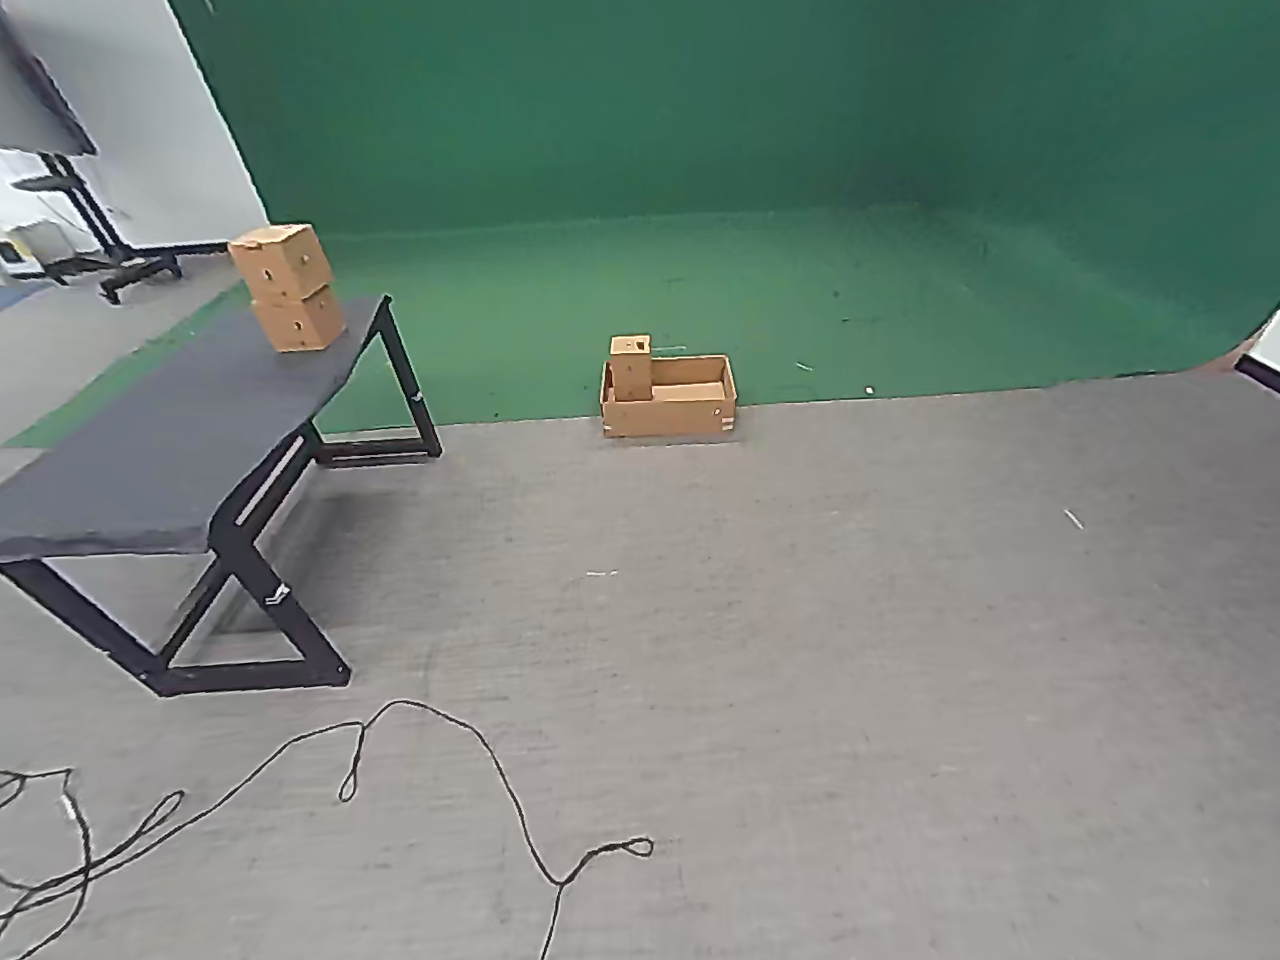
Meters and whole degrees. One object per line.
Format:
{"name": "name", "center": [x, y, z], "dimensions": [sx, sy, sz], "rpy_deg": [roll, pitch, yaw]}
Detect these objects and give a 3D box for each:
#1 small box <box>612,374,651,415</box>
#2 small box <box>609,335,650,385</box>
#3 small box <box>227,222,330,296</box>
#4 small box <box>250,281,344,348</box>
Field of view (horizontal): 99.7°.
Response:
{"name": "small box", "center": [-0.038, -0.422, 2.569], "dimensions": [0.179, 0.176, 0.168], "rpy_deg": [-1, 42, 1]}
{"name": "small box", "center": [-0.044, -0.543, 2.457], "dimensions": [0.179, 0.176, 0.168], "rpy_deg": [-2, 41, 2]}
{"name": "small box", "center": [-1.085, -0.668, 1.644], "dimensions": [0.168, 0.176, 0.179], "rpy_deg": [1, 42, 5]}
{"name": "small box", "center": [-1.093, -0.536, 1.743], "dimensions": [0.168, 0.176, 0.179], "rpy_deg": [-1, 40, 3]}
